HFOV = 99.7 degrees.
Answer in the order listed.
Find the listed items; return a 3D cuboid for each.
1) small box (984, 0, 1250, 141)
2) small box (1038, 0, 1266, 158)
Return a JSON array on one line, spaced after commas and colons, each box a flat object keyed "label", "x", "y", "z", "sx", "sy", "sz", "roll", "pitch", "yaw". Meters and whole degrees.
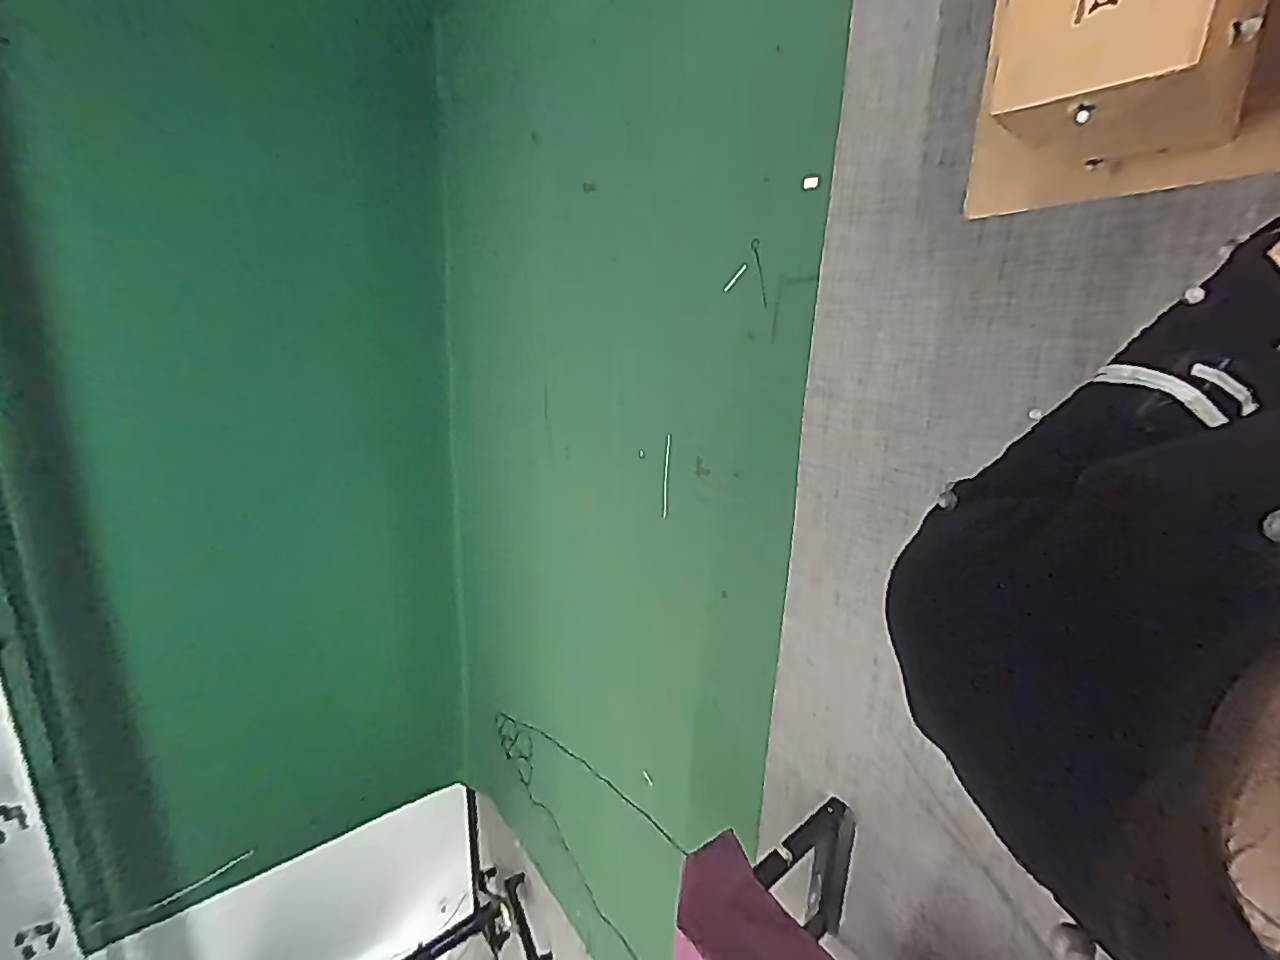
[{"label": "small box", "x": 0.512, "y": -0.487, "z": 0.579, "sx": 0.179, "sy": 0.176, "sz": 0.168, "roll": 21, "pitch": 115, "yaw": 48}, {"label": "small box", "x": 0.637, "y": -0.526, "z": 0.678, "sx": 0.168, "sy": 0.176, "sz": 0.179, "roll": 20, "pitch": 113, "yaw": 49}]
